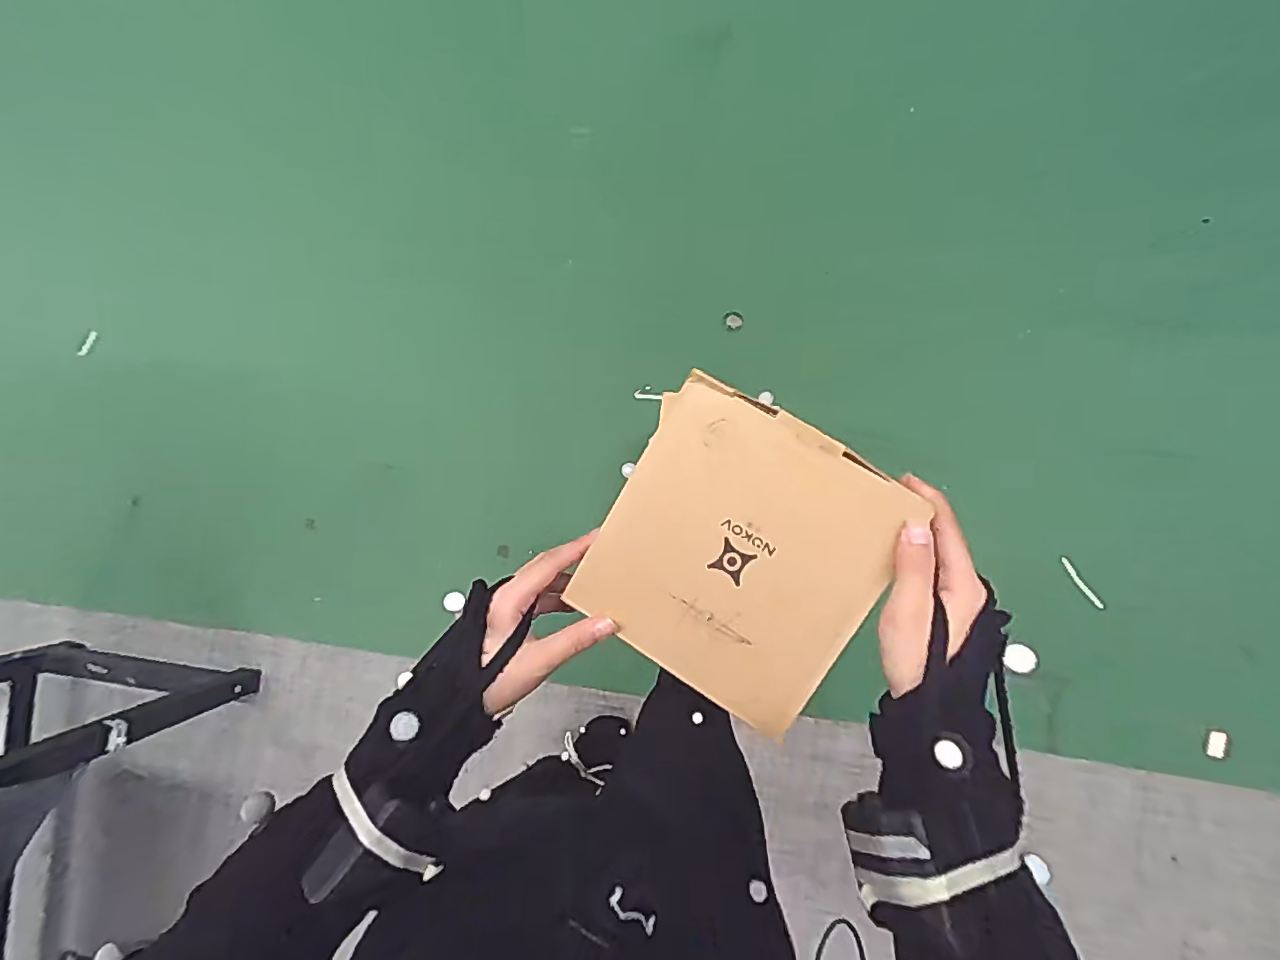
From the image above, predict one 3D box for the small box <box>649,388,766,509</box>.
[{"bbox_3d":[0.117,-0.050,0.924,0.168,0.176,0.179,7,89,9],"label":"small box"}]
